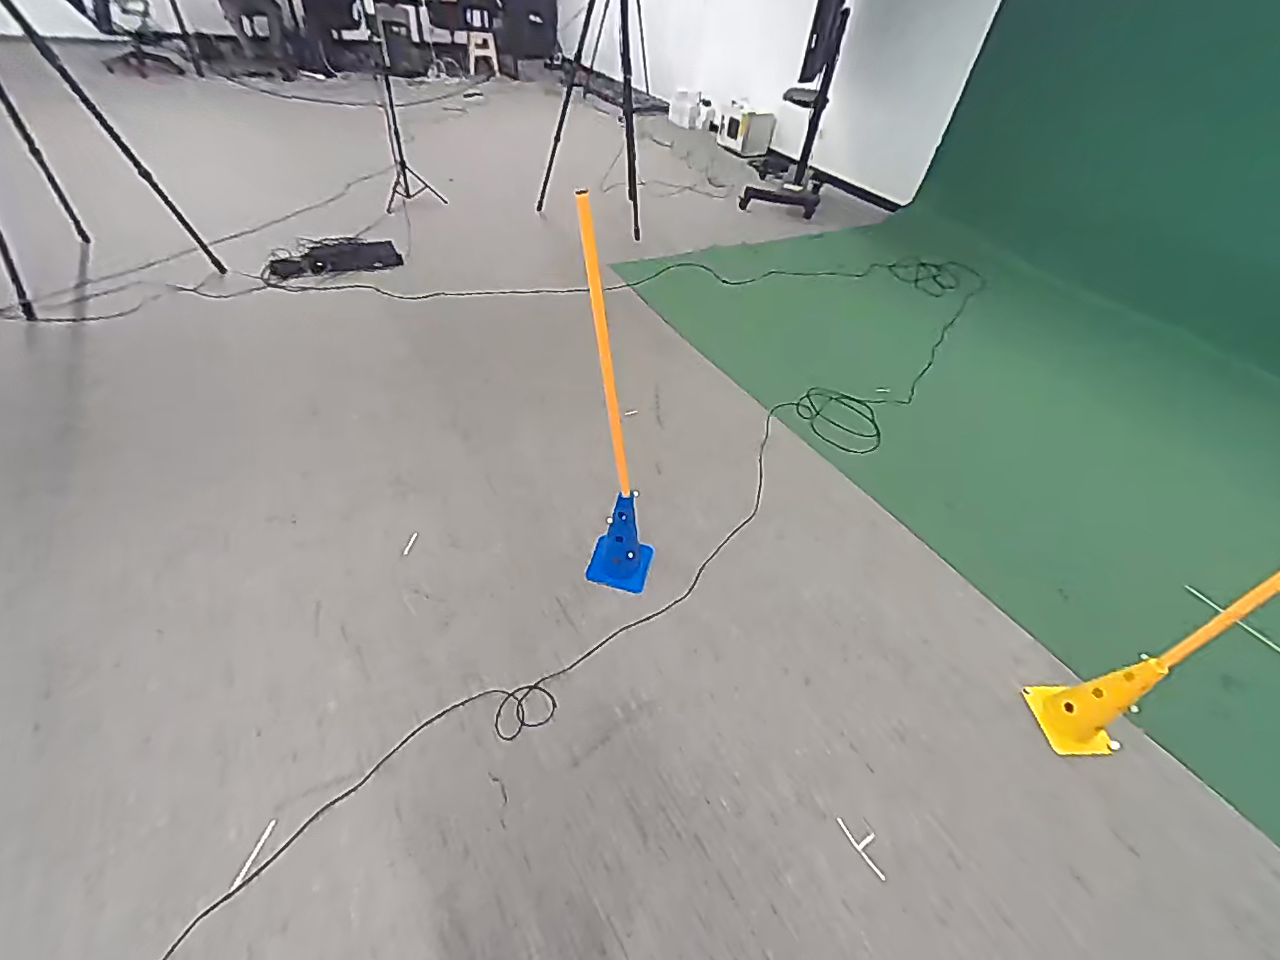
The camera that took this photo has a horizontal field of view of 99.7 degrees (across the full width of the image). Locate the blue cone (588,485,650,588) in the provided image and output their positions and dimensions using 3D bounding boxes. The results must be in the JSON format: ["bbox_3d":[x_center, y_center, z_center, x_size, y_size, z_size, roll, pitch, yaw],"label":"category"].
[{"bbox_3d":[-0.058,0.164,1.719,0.193,0.380,0.192,12,46,6],"label":"blue cone"}]
